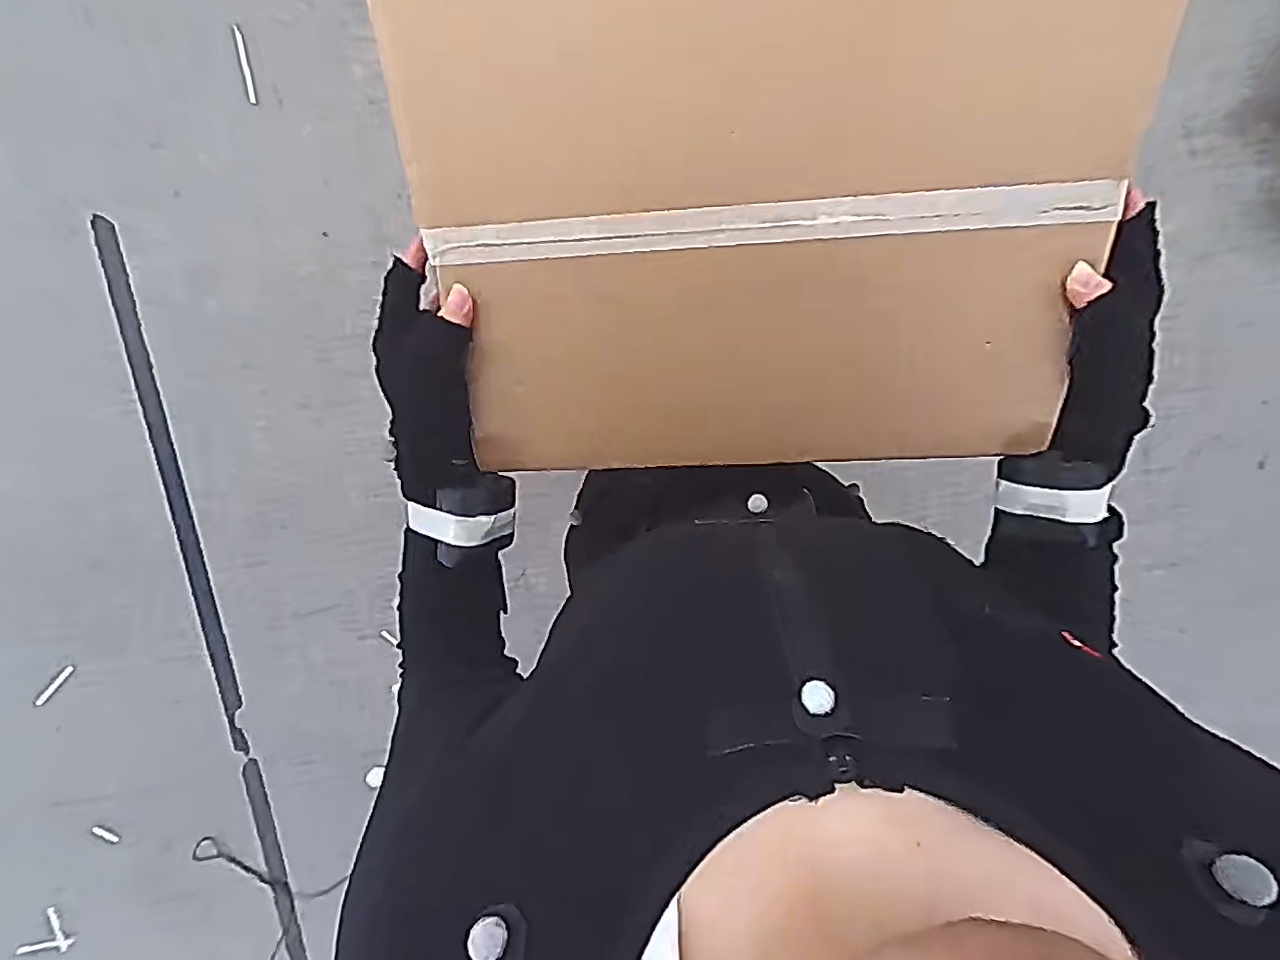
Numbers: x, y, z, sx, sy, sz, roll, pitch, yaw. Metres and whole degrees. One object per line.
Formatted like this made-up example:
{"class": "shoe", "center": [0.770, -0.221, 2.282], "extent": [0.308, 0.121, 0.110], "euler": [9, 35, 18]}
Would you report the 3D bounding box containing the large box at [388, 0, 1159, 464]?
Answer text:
{"class": "large box", "center": [0.076, -0.224, 0.463], "extent": [0.408, 0.320, 0.320], "euler": [-2, 119, 4]}
